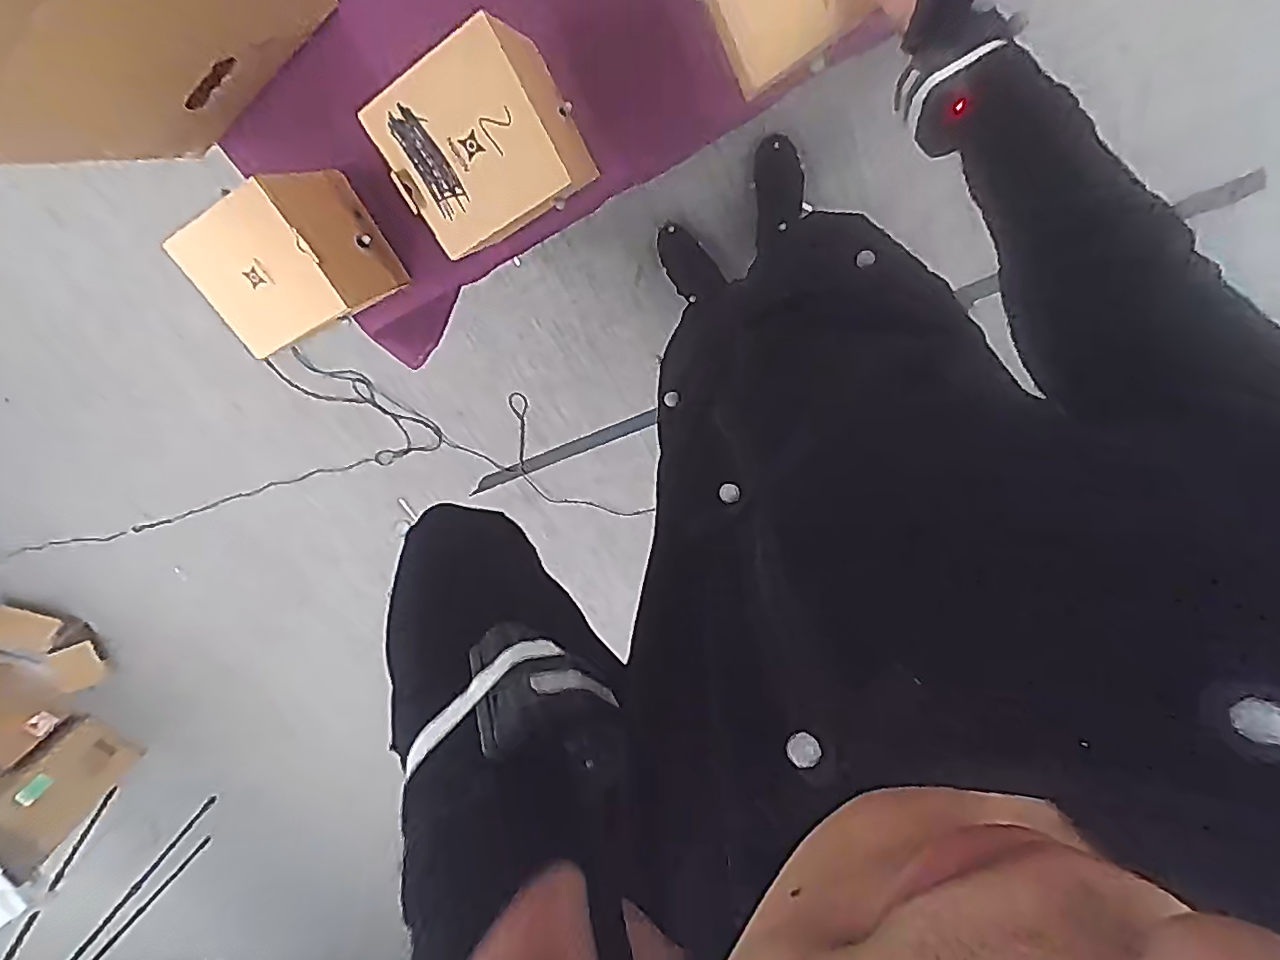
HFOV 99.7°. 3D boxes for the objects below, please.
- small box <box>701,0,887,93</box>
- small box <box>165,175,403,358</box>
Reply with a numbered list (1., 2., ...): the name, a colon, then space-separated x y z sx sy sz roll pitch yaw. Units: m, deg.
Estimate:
1. small box: 0.140 -0.512 0.521 0.168 0.176 0.179 -24 116 22
2. small box: -0.470 -0.296 0.745 0.179 0.176 0.168 -21 117 18
